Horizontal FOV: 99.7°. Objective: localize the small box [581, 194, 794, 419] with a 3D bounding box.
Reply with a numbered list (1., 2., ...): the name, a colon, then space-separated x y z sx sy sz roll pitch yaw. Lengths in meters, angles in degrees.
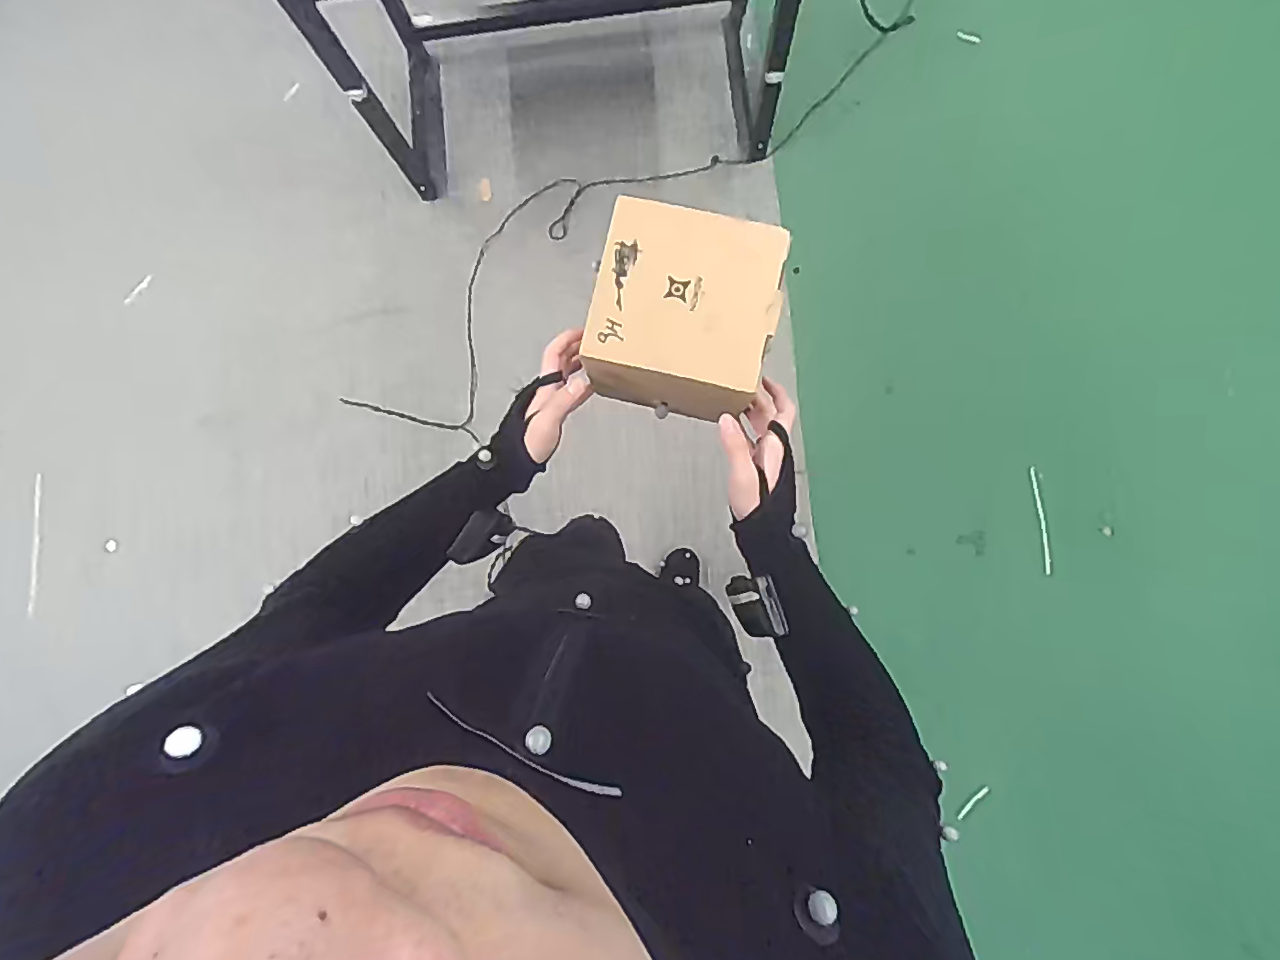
1. small box: 0.047 -0.173 0.596 0.179 0.176 0.168 13 85 1
